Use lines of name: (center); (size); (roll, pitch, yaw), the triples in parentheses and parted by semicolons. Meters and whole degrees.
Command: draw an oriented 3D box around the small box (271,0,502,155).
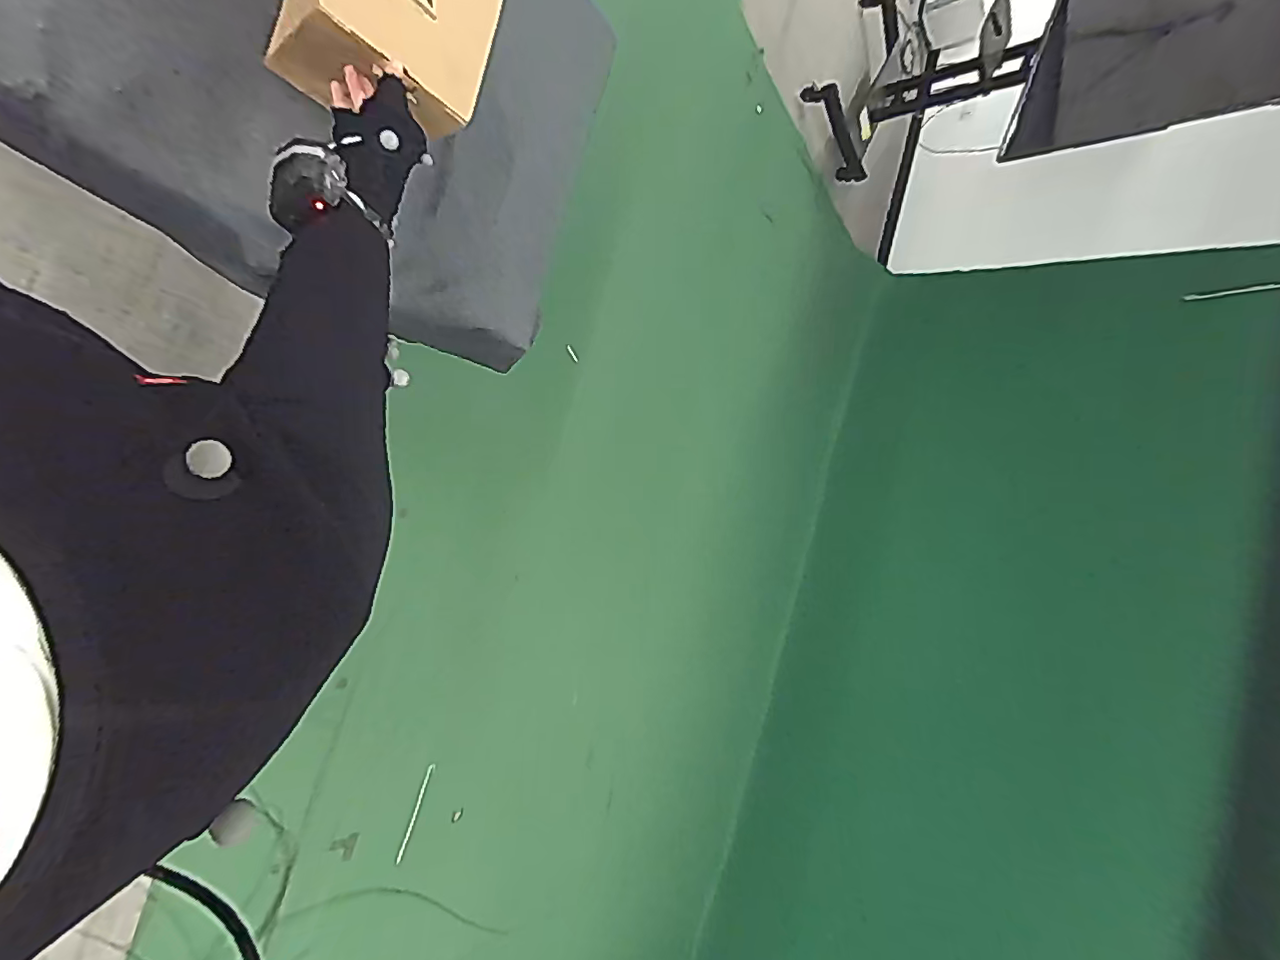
small box: (-0.293, -0.514, 0.621); (0.168, 0.176, 0.179); (18, 85, -50)
